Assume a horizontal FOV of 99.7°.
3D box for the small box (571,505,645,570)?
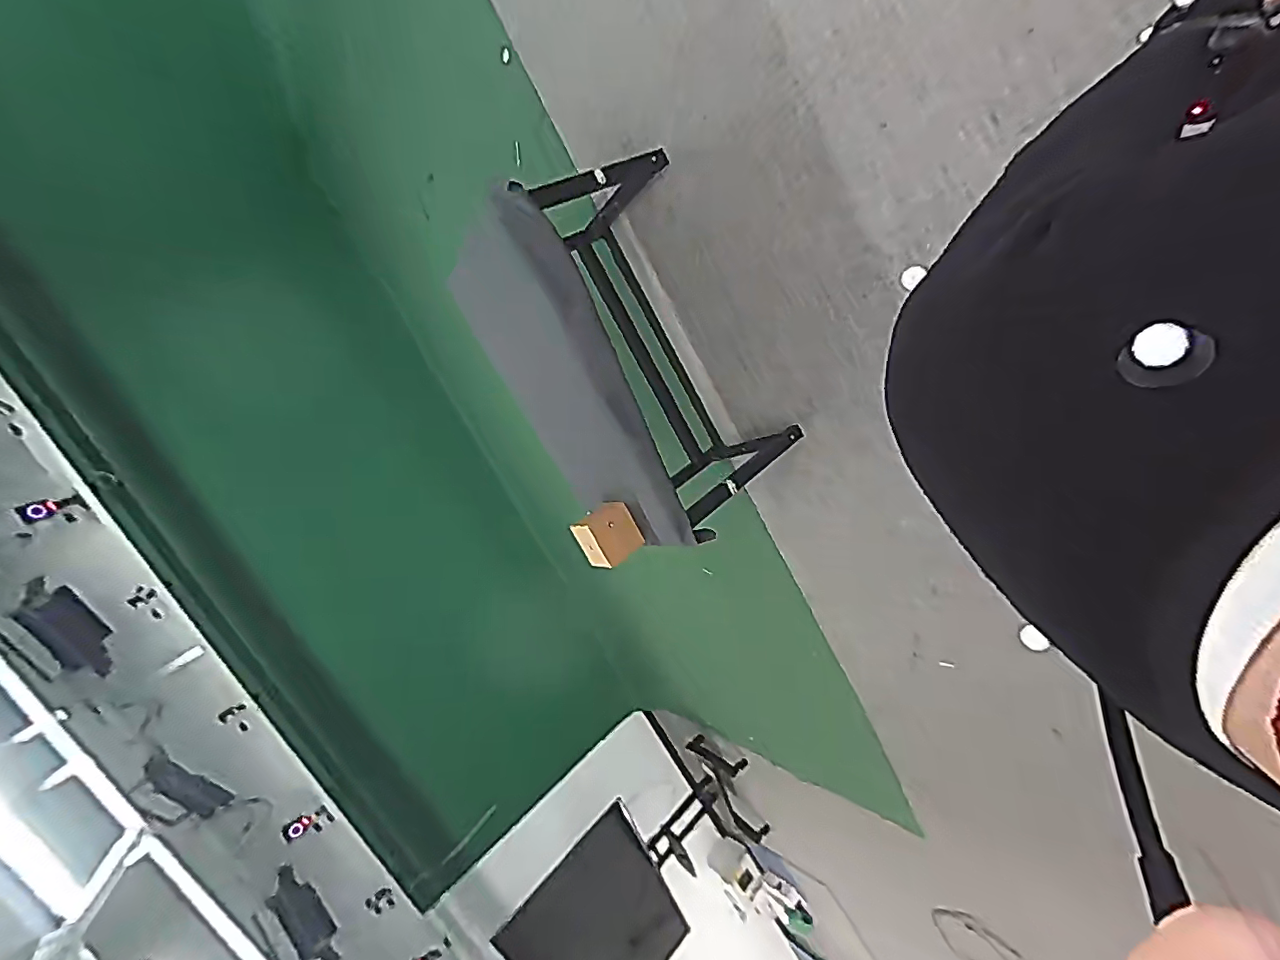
[{"bbox_3d":[-0.113,0.202,1.961,0.168,0.176,0.179,-5,116,60],"label":"small box"}]
